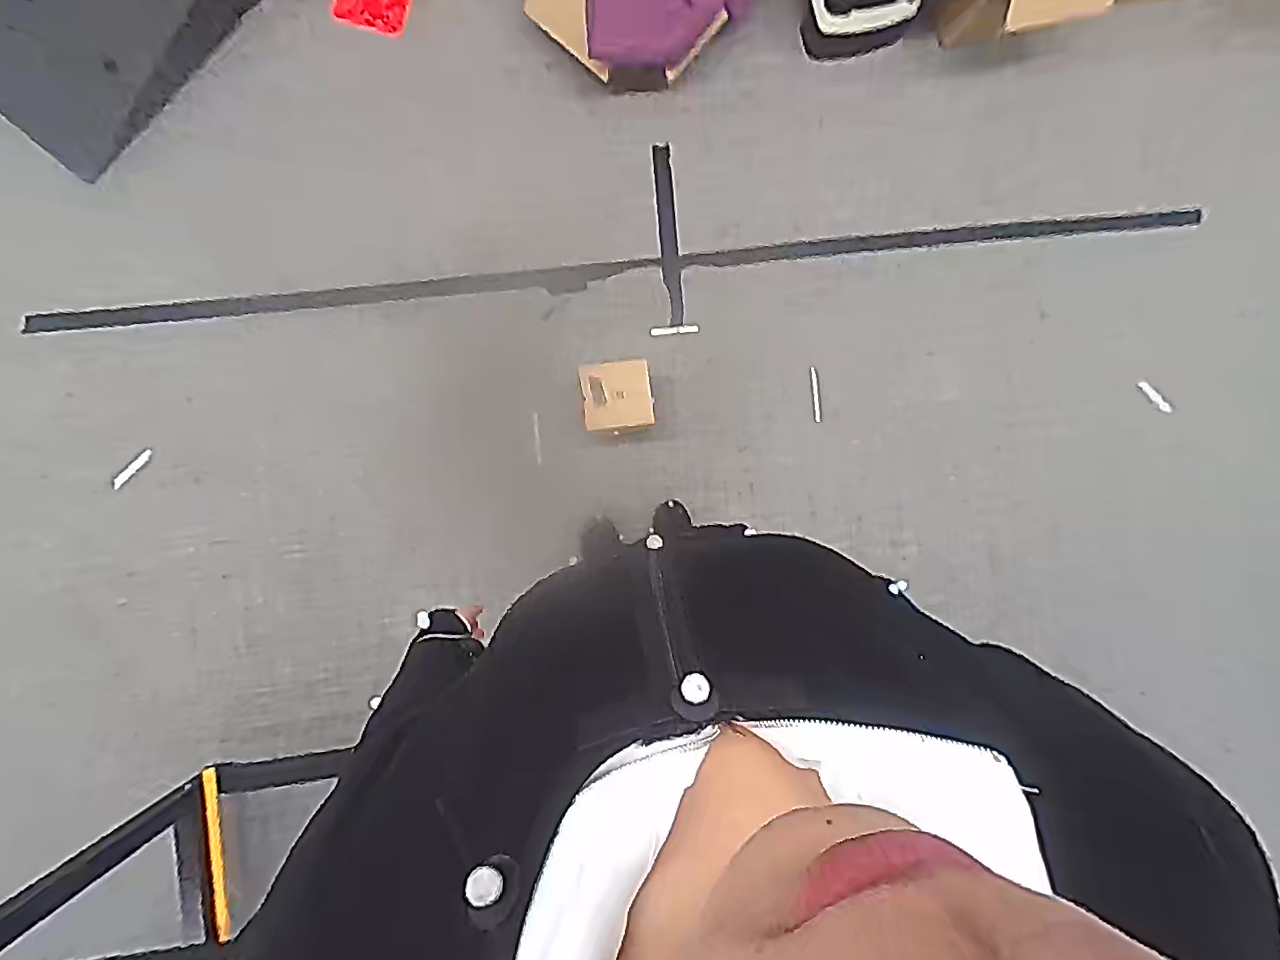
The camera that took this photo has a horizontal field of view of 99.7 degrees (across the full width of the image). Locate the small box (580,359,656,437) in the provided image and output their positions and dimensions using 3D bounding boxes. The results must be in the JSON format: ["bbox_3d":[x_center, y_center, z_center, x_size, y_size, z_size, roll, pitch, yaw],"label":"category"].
[{"bbox_3d":[-0.057,-0.212,1.439,0.179,0.176,0.168,-7,89,-3],"label":"small box"}]
